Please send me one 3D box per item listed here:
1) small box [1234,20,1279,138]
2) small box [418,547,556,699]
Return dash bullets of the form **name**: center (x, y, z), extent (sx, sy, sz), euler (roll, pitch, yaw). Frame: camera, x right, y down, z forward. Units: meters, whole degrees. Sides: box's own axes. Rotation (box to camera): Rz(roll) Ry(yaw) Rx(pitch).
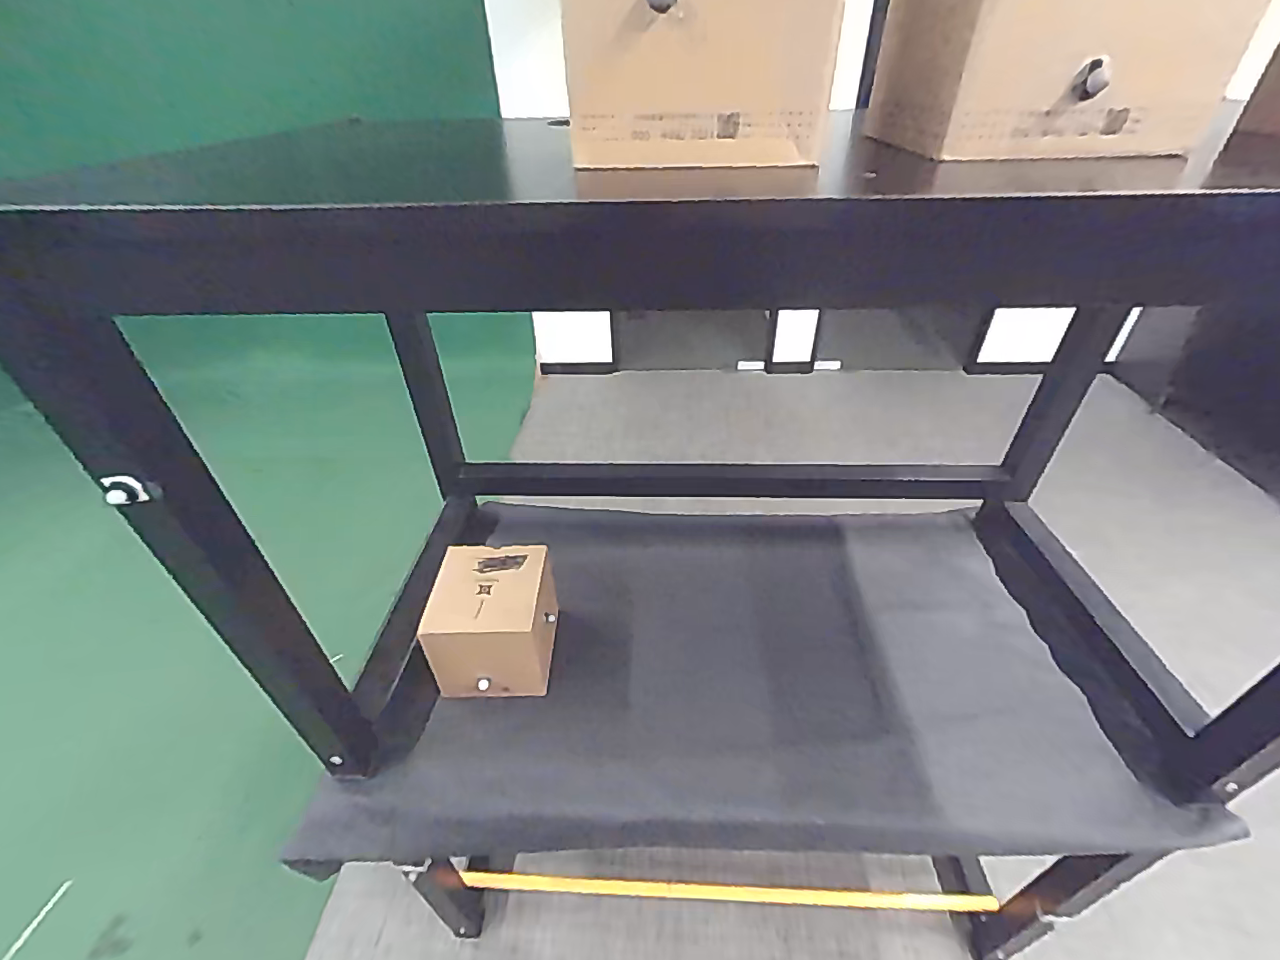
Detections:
- **small box**: center (0.546, -0.303, 0.323), extent (0.168, 0.176, 0.179), euler (6, 37, 11)
- **small box**: center (-0.232, 0.229, 0.875), extent (0.168, 0.176, 0.179), euler (-1, 37, 1)
